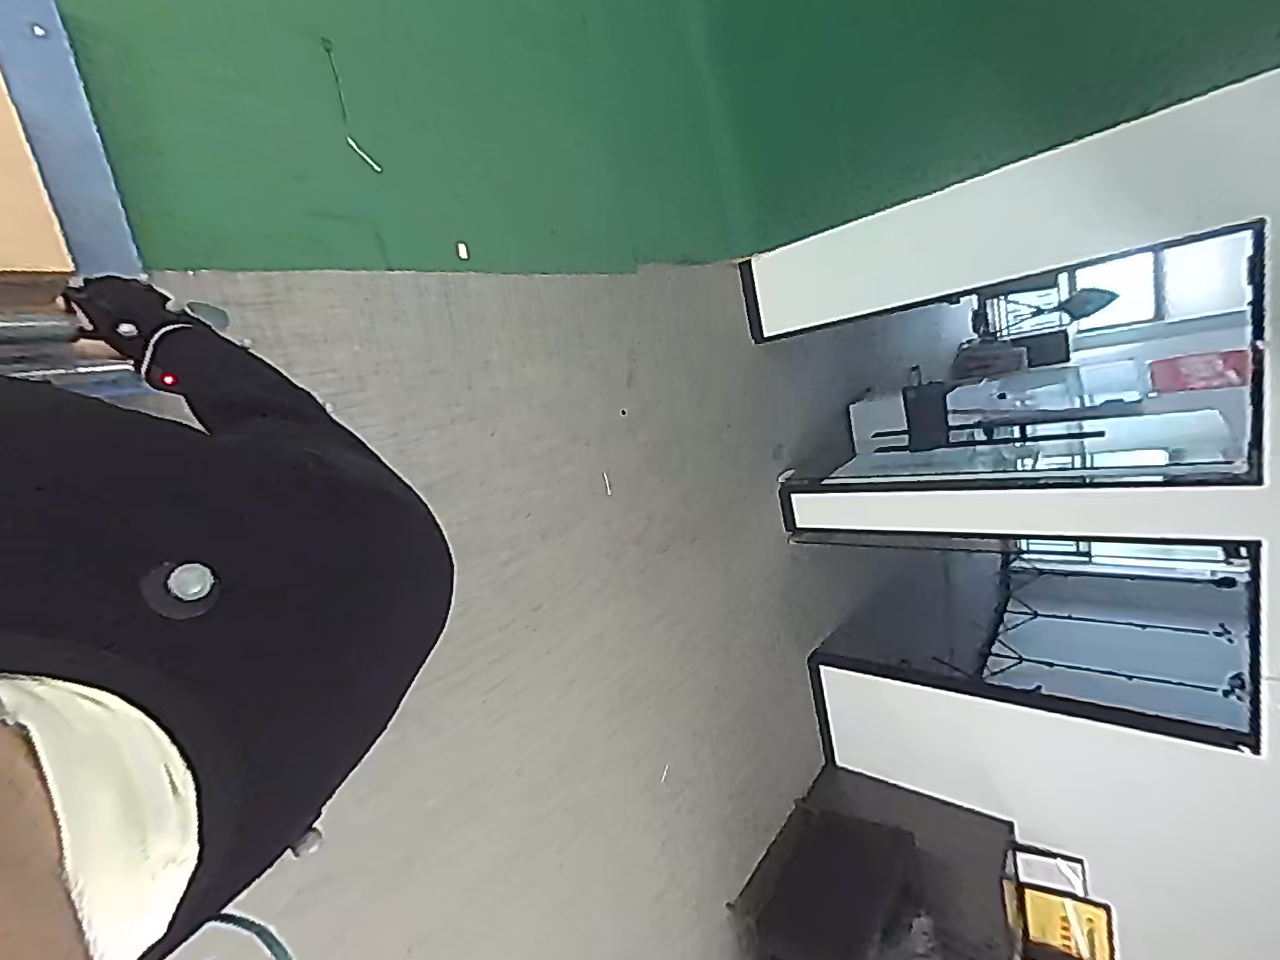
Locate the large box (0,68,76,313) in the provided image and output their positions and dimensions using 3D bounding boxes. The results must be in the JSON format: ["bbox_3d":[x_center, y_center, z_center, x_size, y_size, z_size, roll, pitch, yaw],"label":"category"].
[{"bbox_3d":[-1.135,-0.480,0.809,0.320,0.320,0.408,-23,105,-45],"label":"large box"}]
